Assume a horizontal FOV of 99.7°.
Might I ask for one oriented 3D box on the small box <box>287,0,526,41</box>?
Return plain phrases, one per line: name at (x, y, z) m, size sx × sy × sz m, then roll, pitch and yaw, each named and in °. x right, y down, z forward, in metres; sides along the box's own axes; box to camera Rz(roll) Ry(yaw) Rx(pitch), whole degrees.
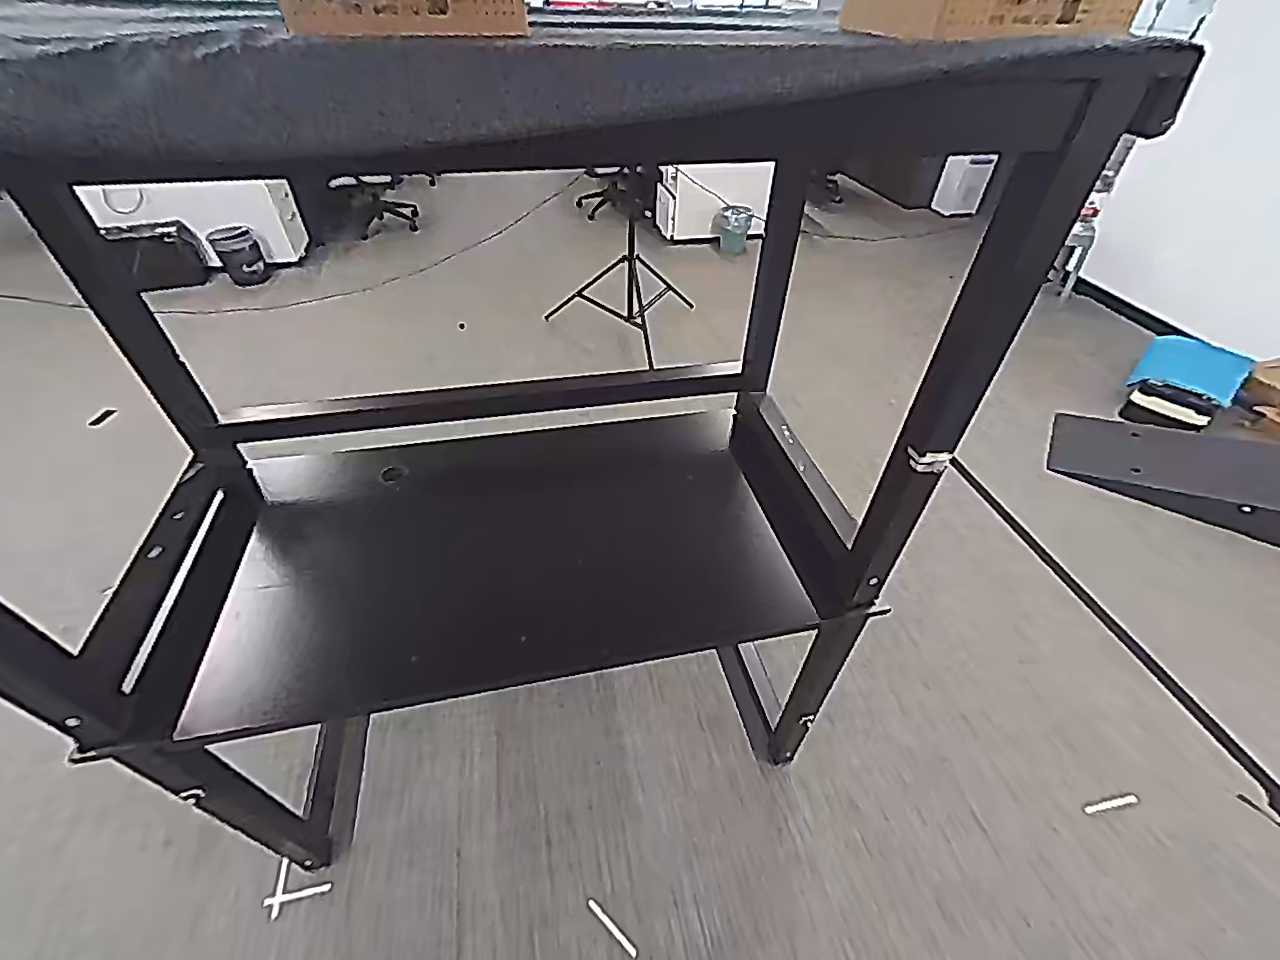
small box at (-0.180, -0.432, 0.395) m, size 0.168 × 0.176 × 0.179 m, roll -8°, pitch 41°, yaw -10°
